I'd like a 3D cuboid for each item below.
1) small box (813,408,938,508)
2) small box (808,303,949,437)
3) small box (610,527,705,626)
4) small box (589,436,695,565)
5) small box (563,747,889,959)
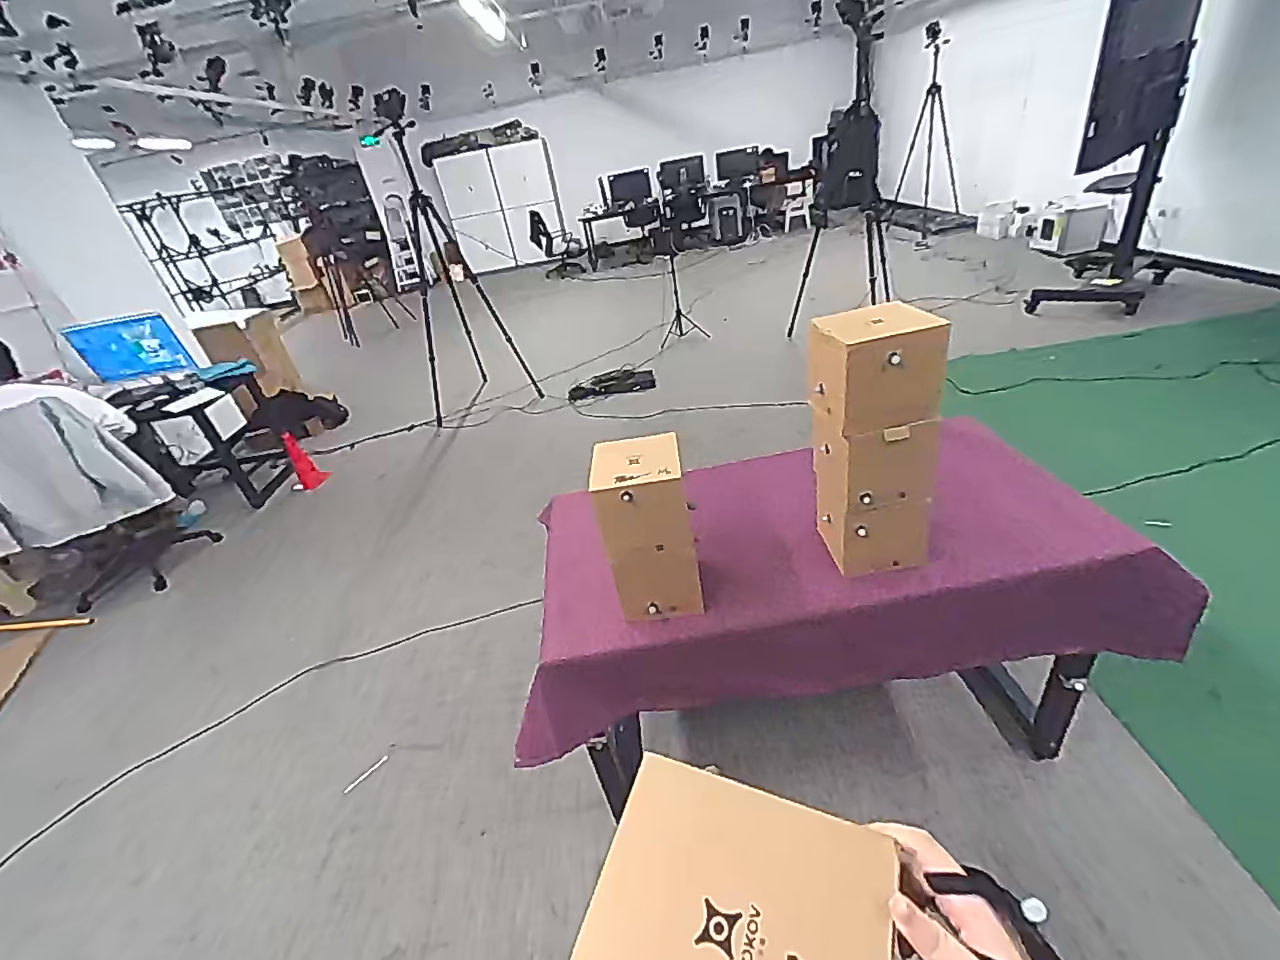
[{"bbox_3d":[0.447,-0.060,1.047,0.168,0.176,0.179,-12,30,1],"label":"small box"},{"bbox_3d":[0.413,-0.197,0.965,0.179,0.176,0.168,-13,30,0],"label":"small box"},{"bbox_3d":[0.039,0.177,1.128,0.168,0.176,0.179,-9,32,6],"label":"small box"},{"bbox_3d":[0.008,0.038,1.043,0.168,0.176,0.179,-10,30,6],"label":"small box"},{"bbox_3d":[0.065,0.321,0.375,0.179,0.176,0.168,7,46,21],"label":"small box"}]
